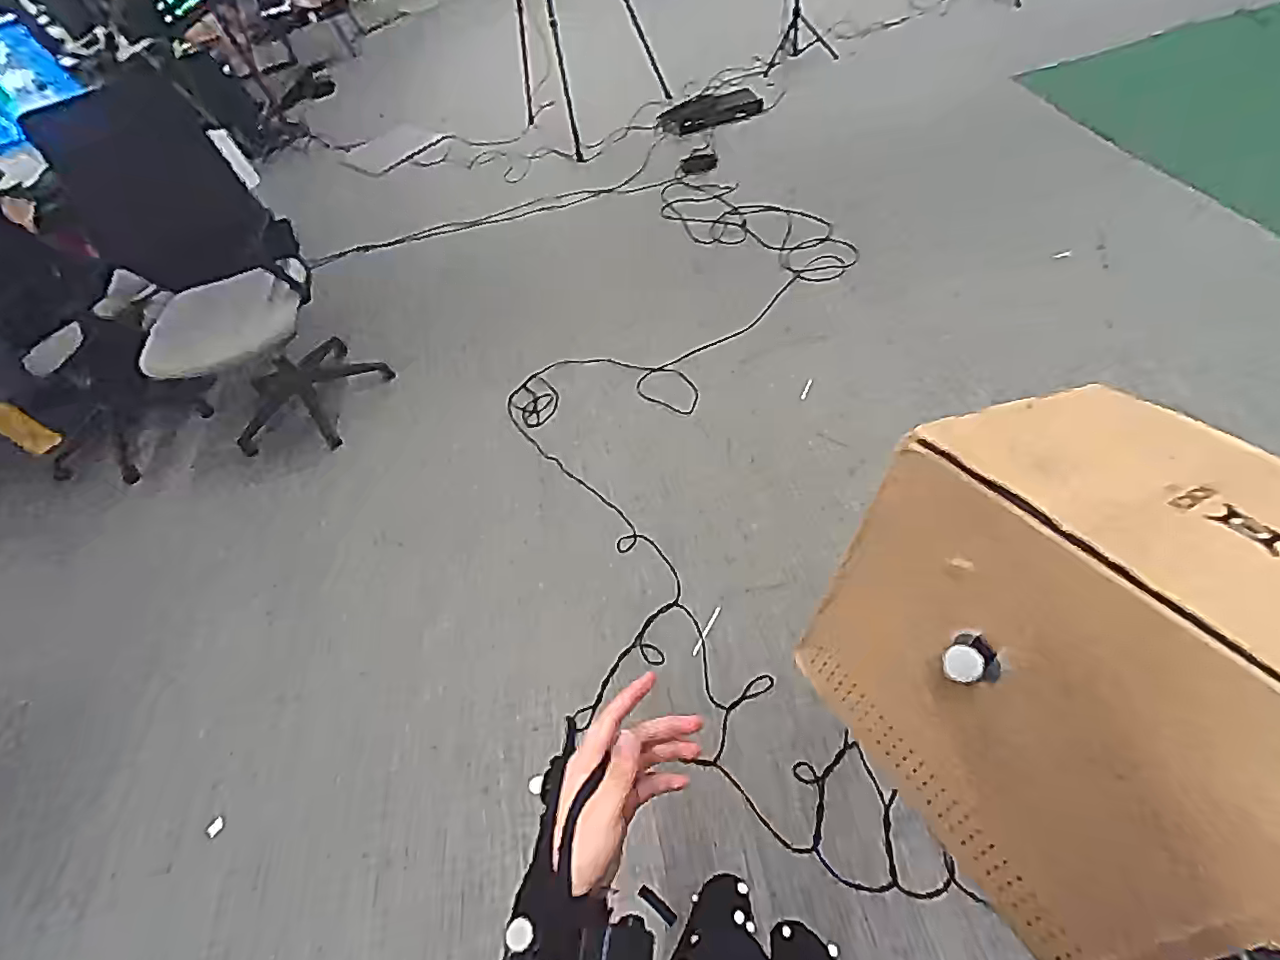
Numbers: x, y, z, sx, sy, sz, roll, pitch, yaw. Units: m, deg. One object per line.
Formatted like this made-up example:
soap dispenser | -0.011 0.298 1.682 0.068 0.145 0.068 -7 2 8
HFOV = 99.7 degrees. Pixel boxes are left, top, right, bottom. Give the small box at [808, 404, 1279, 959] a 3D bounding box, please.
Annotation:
small box | 0.214 0.086 0.264 0.168 0.176 0.179 -14 42 -27
